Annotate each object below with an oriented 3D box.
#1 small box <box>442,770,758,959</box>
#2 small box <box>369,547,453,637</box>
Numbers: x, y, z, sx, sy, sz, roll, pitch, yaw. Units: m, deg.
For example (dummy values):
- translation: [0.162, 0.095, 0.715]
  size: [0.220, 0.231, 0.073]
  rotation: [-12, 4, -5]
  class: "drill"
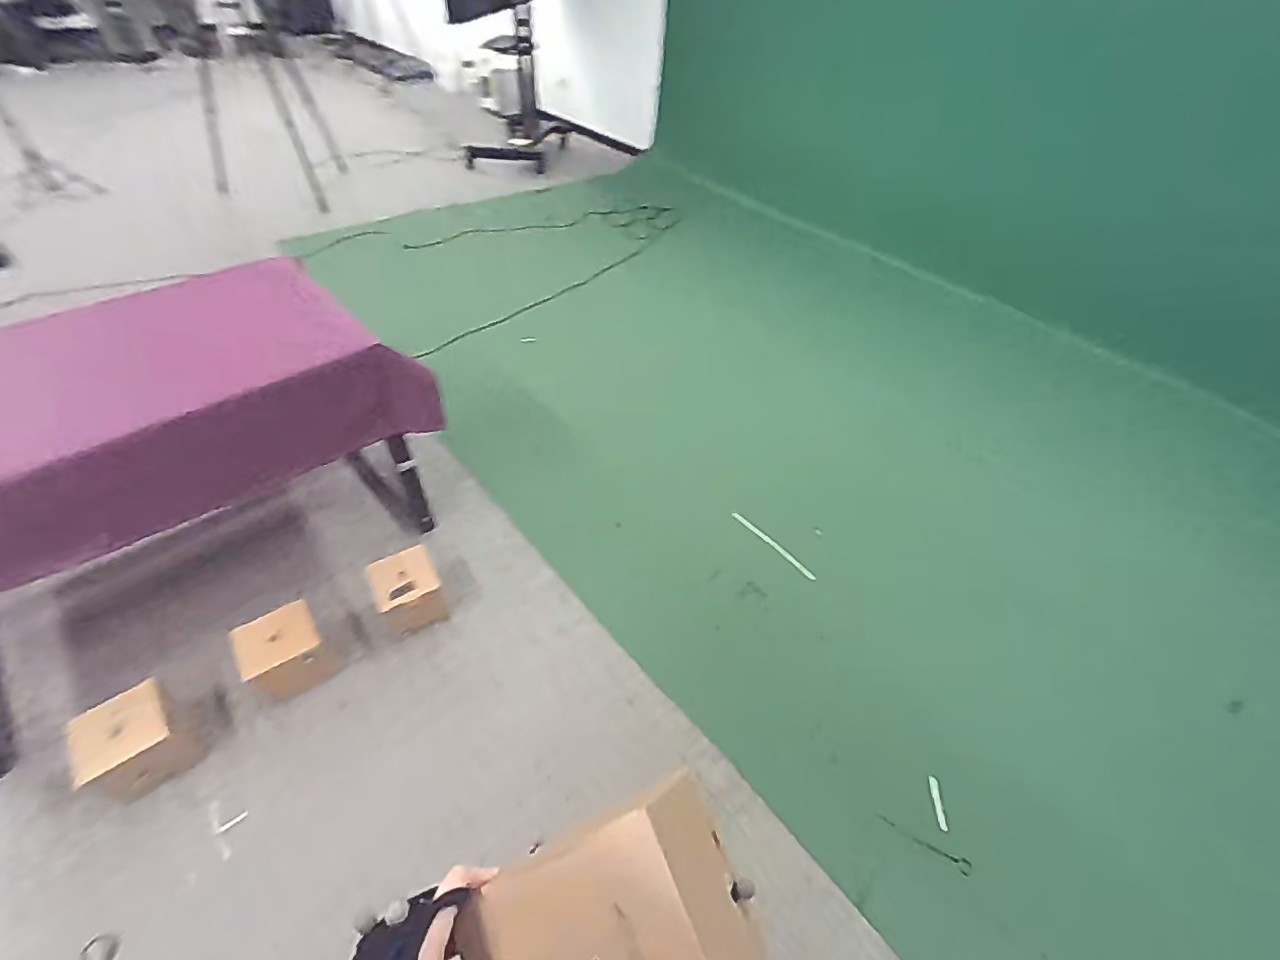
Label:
- translation: [-0.021, 0.367, 0.442]
  size: [0.179, 0.176, 0.168]
  rotation: [-30, 67, 6]
  class: "small box"
- translation: [-0.671, 0.337, 1.598]
  size: [0.168, 0.176, 0.179]
  rotation: [-24, 48, -24]
  class: "small box"
